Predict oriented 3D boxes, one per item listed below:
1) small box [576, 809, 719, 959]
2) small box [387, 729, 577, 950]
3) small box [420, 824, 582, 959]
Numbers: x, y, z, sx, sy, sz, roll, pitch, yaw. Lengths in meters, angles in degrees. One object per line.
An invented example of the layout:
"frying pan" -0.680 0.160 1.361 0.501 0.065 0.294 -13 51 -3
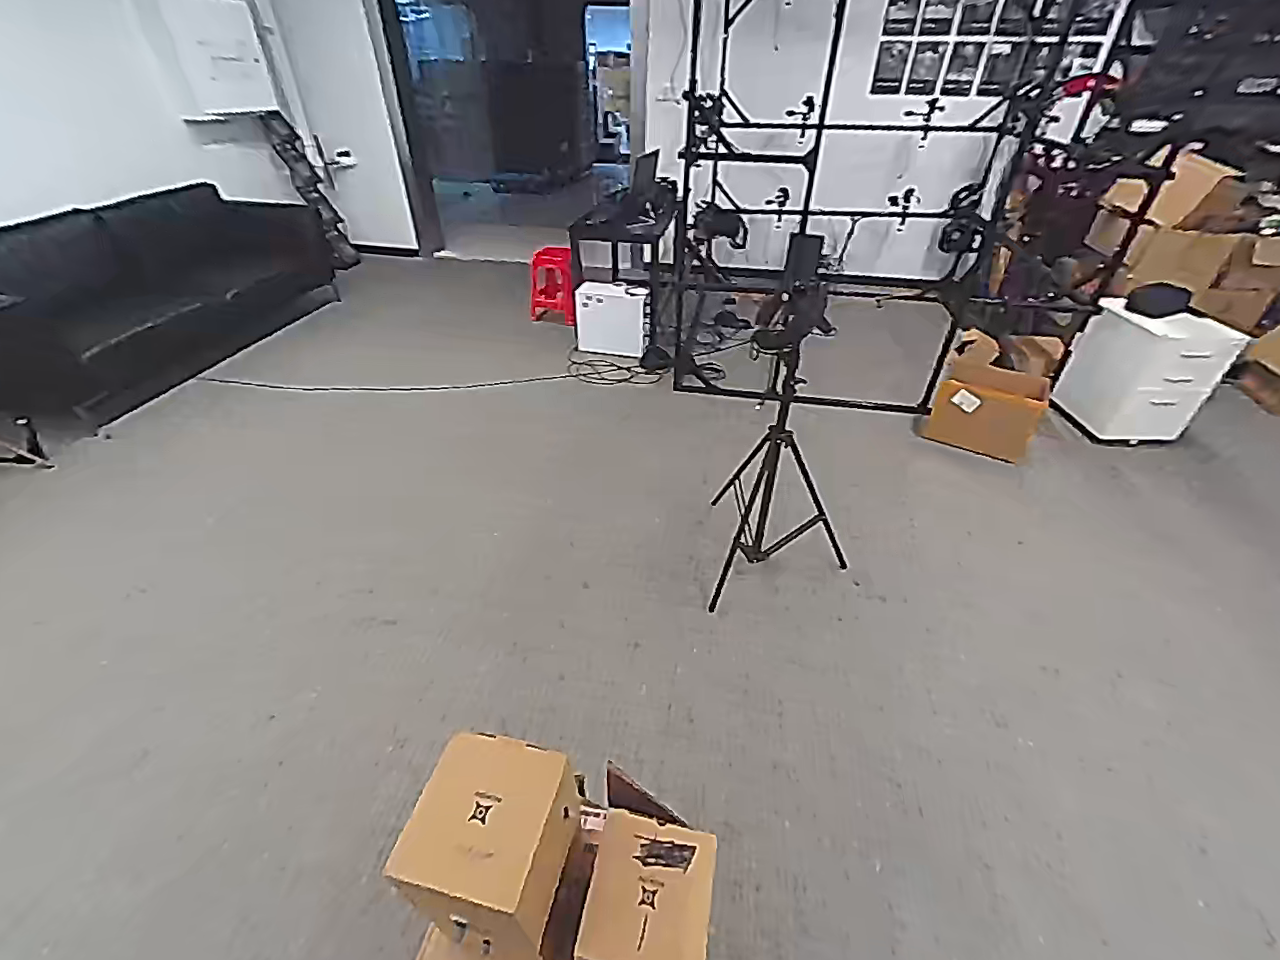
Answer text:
"small box" 0.013 0.615 0.775 0.168 0.176 0.179 9 40 9
"small box" -0.186 0.463 0.702 0.168 0.176 0.179 6 40 12
"small box" -0.191 0.585 0.810 0.168 0.176 0.179 7 40 11
